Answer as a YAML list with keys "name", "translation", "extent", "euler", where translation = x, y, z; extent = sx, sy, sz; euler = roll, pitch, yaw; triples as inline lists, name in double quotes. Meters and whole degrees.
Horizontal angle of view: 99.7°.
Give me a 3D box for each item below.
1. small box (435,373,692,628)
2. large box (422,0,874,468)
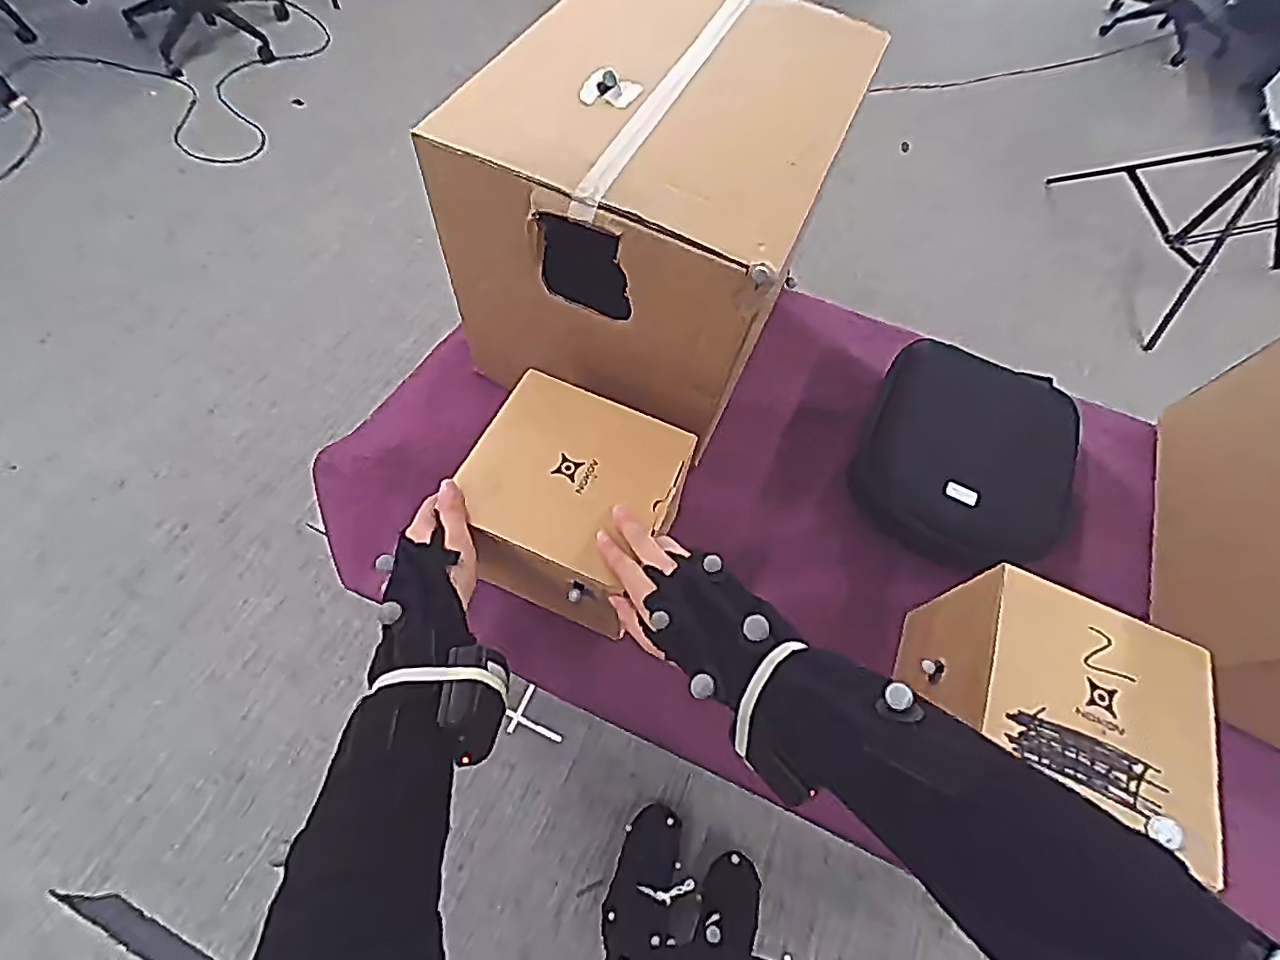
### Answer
- name: "small box"
  translation: [-0.068, 0.029, 0.542]
  extent: [0.179, 0.176, 0.168]
  euler: [22, 62, 6]
- name: "large box"
  translation: [0.022, -0.294, 0.639]
  extent: [0.320, 0.320, 0.408]
  euler: [24, 65, 6]
